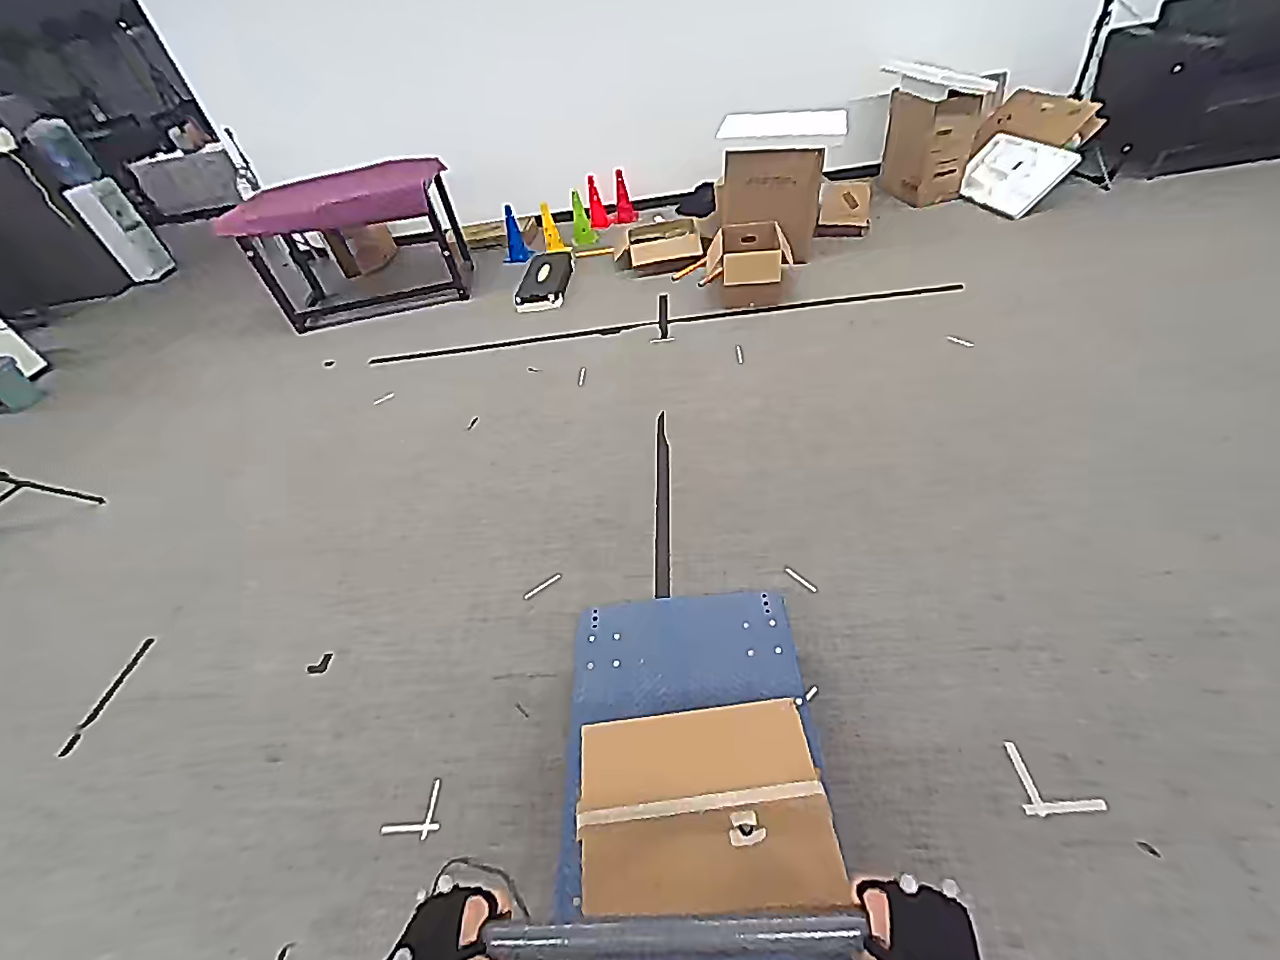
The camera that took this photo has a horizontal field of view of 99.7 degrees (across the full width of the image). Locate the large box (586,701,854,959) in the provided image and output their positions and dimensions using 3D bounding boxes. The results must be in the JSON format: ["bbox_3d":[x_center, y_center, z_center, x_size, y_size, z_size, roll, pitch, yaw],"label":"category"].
[{"bbox_3d":[0.124,0.656,1.006,0.408,0.320,0.320,-8,44,0],"label":"large box"}]
